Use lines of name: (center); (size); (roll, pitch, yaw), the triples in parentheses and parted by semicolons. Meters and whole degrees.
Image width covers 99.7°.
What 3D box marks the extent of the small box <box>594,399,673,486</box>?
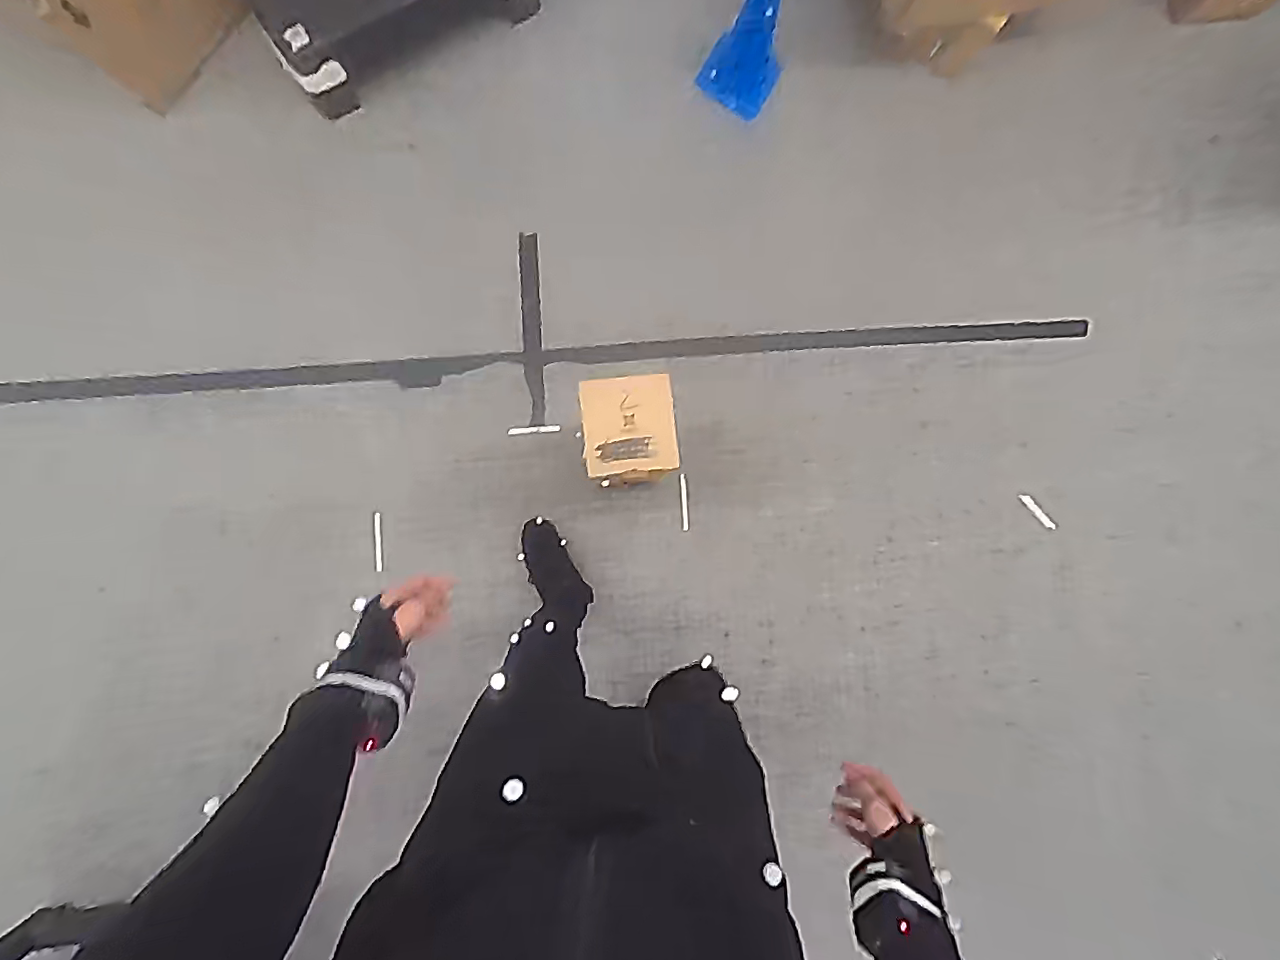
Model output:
small box: (-0.019, -0.079, 1.208); (0.168, 0.176, 0.179); (0, 88, -4)

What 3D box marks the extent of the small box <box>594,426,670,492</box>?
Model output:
small box: (-0.026, -0.058, 1.370); (0.179, 0.176, 0.168); (-5, 87, -4)
